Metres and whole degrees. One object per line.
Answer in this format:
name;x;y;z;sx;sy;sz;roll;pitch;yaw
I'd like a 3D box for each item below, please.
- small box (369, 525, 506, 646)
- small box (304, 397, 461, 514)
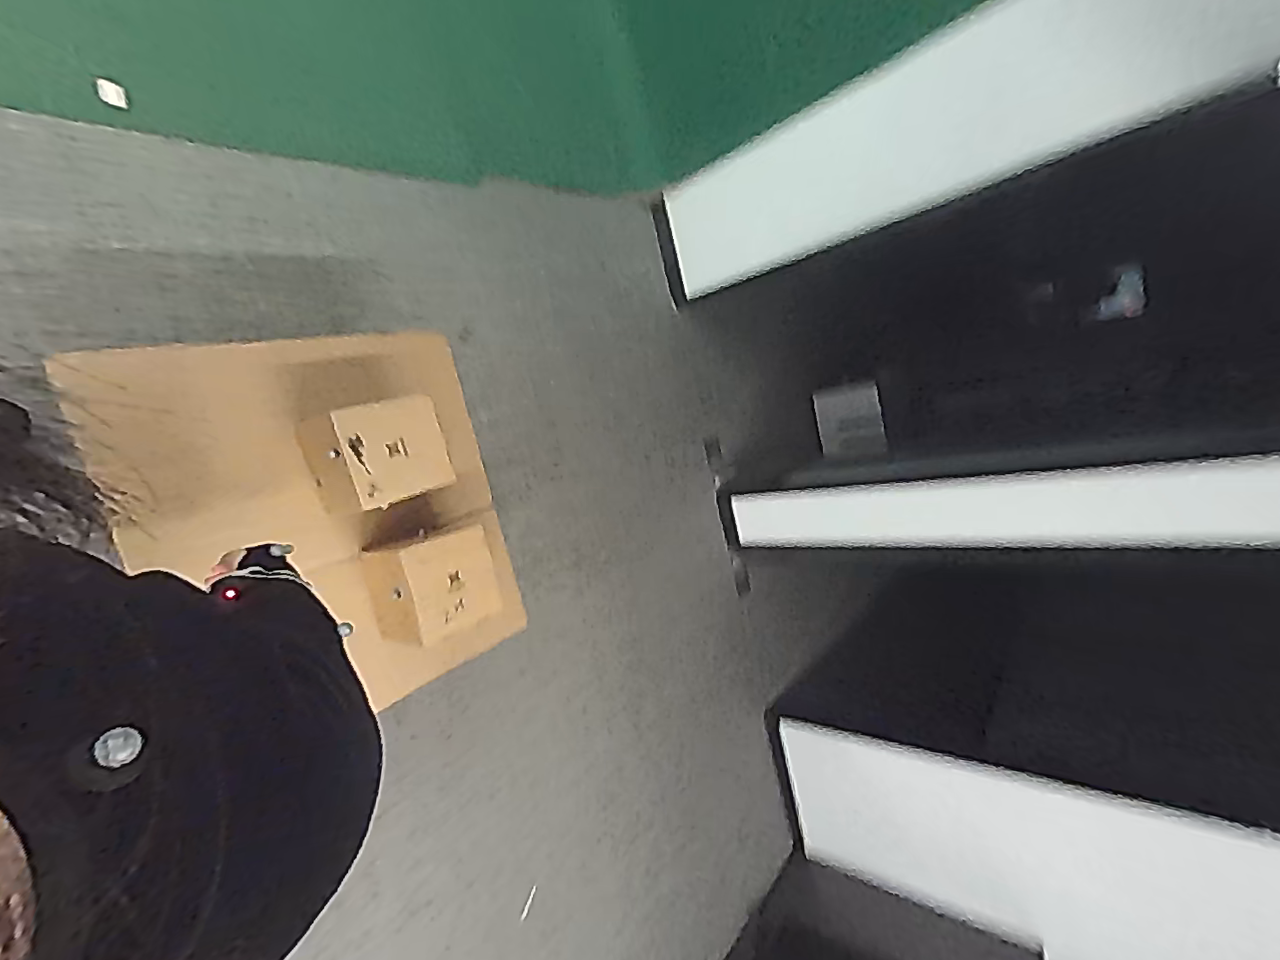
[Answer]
small box;-0.385;0.194;1.019;0.168;0.176;0.179;-17;96;-47
small box;-0.458;-0.043;0.965;0.179;0.176;0.168;-23;101;-47
